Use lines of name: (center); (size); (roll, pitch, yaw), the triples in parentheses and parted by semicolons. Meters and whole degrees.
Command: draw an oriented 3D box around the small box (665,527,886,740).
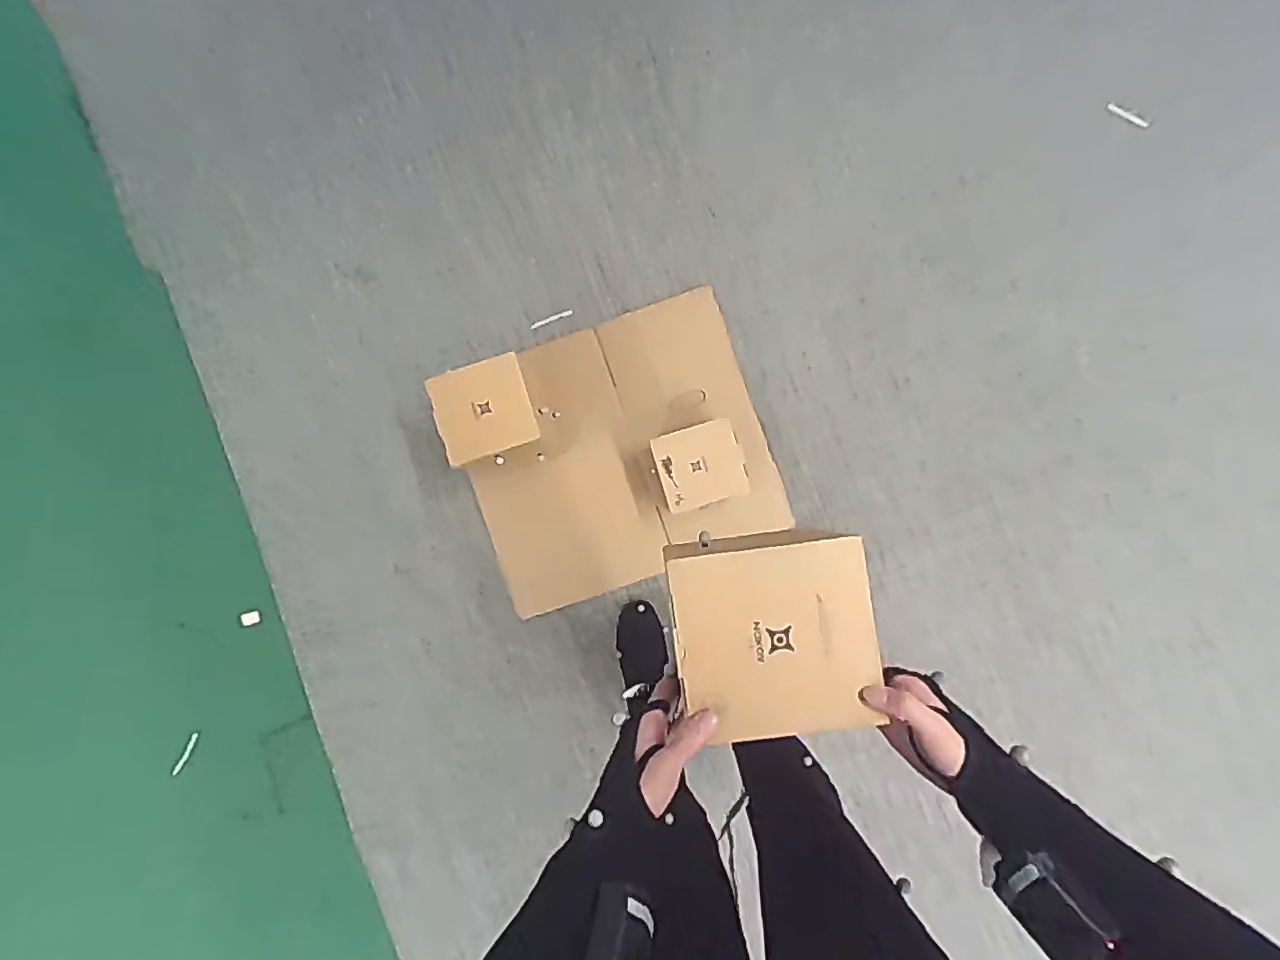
small box: (0.122, 0.141, 0.553); (0.179, 0.176, 0.168); (-7, 88, 1)

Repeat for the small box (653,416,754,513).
small box: (0.132, -0.032, 1.185); (0.179, 0.176, 0.168); (-16, 89, 3)

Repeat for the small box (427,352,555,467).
small box: (-0.273, -0.128, 1.041); (0.179, 0.176, 0.168); (-18, 89, 3)
